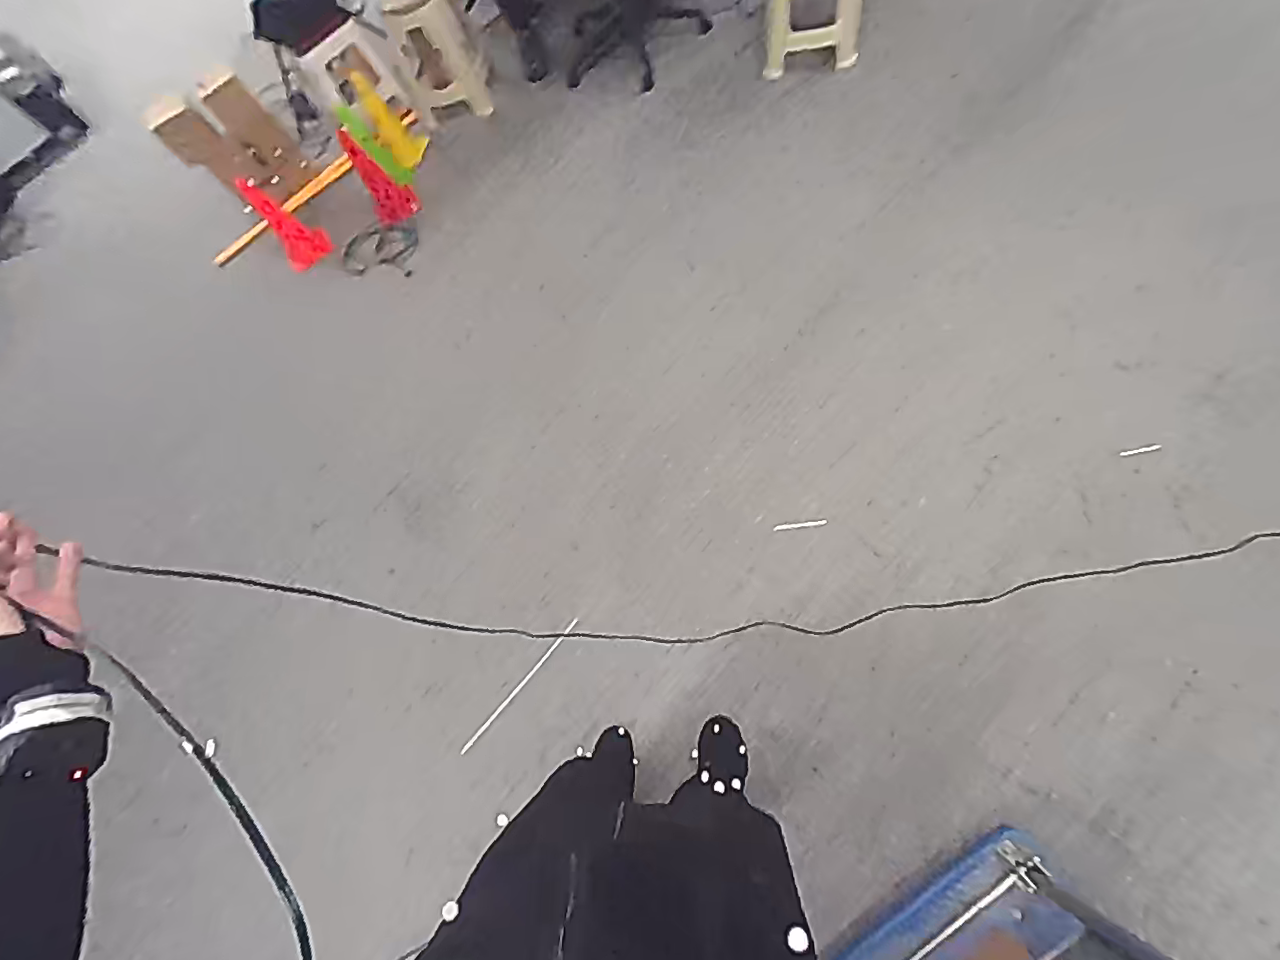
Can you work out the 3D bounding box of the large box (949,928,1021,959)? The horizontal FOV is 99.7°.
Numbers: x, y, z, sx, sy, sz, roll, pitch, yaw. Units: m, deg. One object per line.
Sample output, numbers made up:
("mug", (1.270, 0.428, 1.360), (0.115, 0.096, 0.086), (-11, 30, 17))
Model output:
("large box", (0.622, 1.011, 0.792), (0.320, 0.320, 0.408), (-37, 65, -3))
